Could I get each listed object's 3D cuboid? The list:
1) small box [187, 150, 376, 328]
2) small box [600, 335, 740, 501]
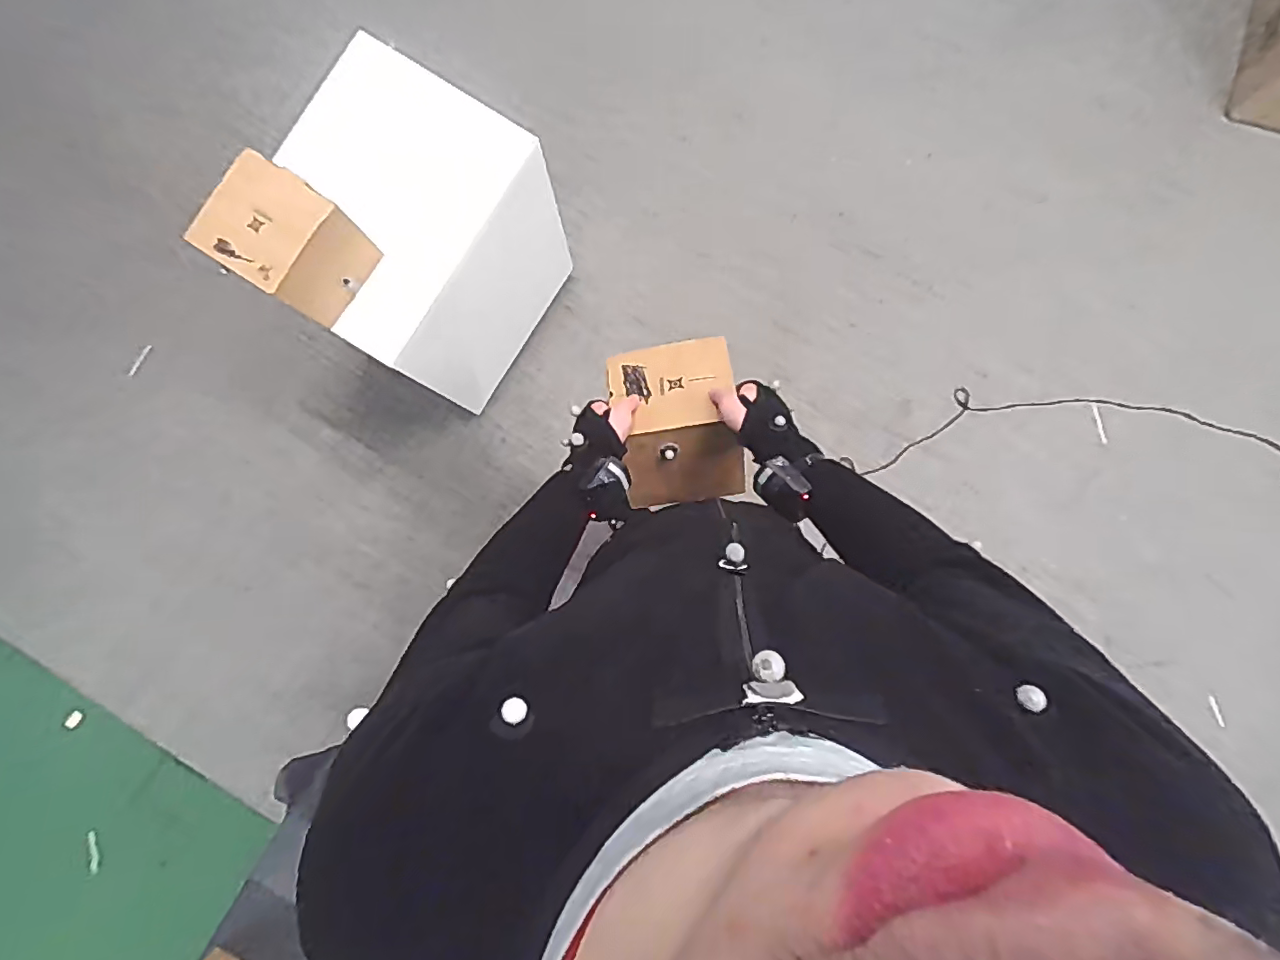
[{"bbox_3d":[-0.578,-0.391,0.905,0.168,0.176,0.179,33,87,1],"label":"small box"},{"bbox_3d":[0.047,-0.083,0.793,0.179,0.176,0.168,-8,53,7],"label":"small box"}]
